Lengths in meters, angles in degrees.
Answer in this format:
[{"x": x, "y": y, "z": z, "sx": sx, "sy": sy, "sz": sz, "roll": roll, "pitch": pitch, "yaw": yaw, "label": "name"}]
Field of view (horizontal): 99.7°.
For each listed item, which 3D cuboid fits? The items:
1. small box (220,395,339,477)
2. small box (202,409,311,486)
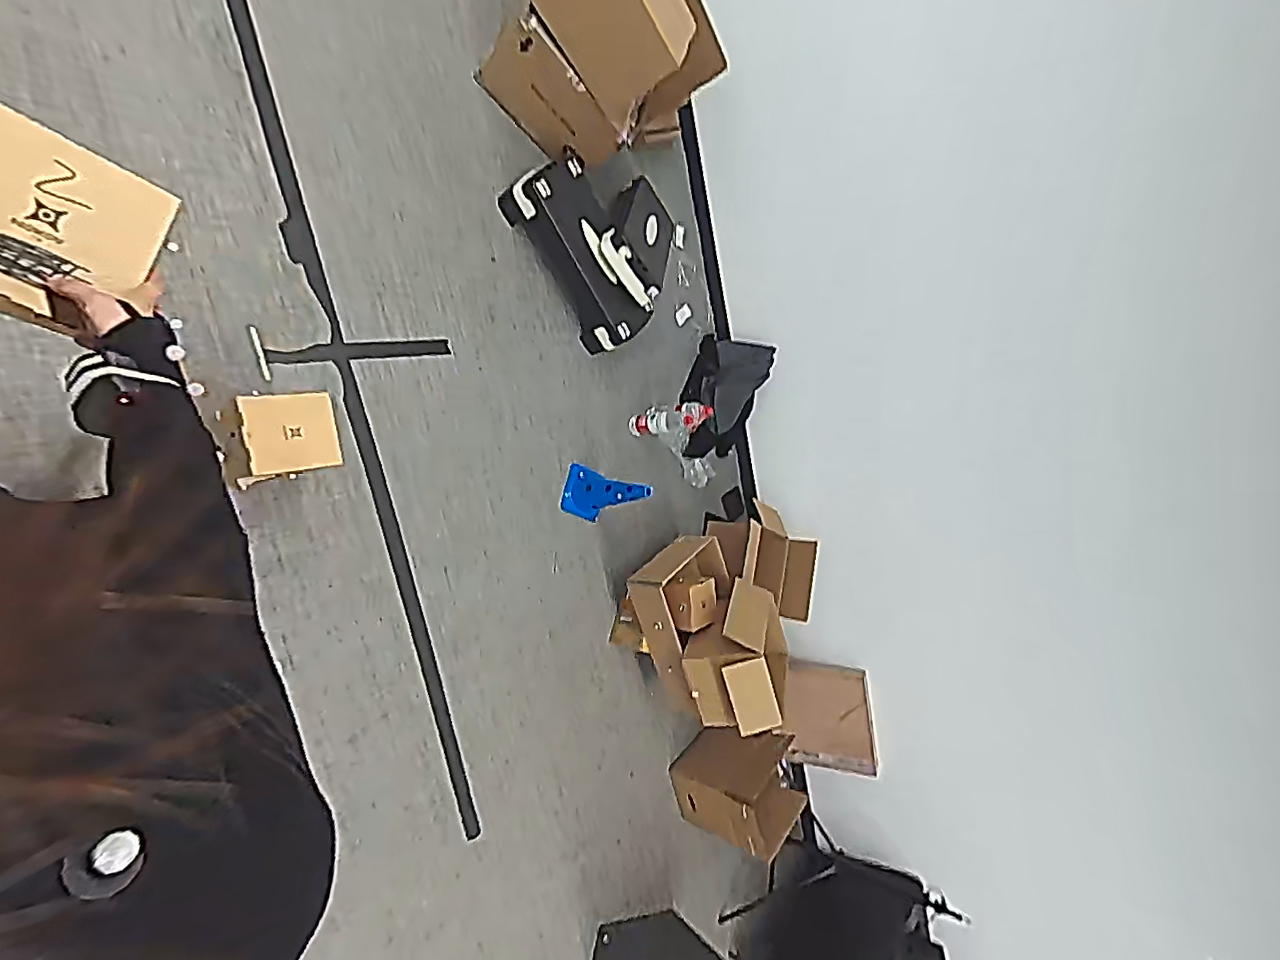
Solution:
[{"x": -0.812, "y": -0.100, "z": 1.219, "sx": 0.179, "sy": 0.176, "sz": 0.168, "roll": -14, "pitch": 99, "yaw": -45, "label": "small box"}, {"x": -0.938, "y": -0.089, "z": 1.322, "sx": 0.168, "sy": 0.176, "sz": 0.179, "roll": -20, "pitch": 103, "yaw": -45, "label": "small box"}]
